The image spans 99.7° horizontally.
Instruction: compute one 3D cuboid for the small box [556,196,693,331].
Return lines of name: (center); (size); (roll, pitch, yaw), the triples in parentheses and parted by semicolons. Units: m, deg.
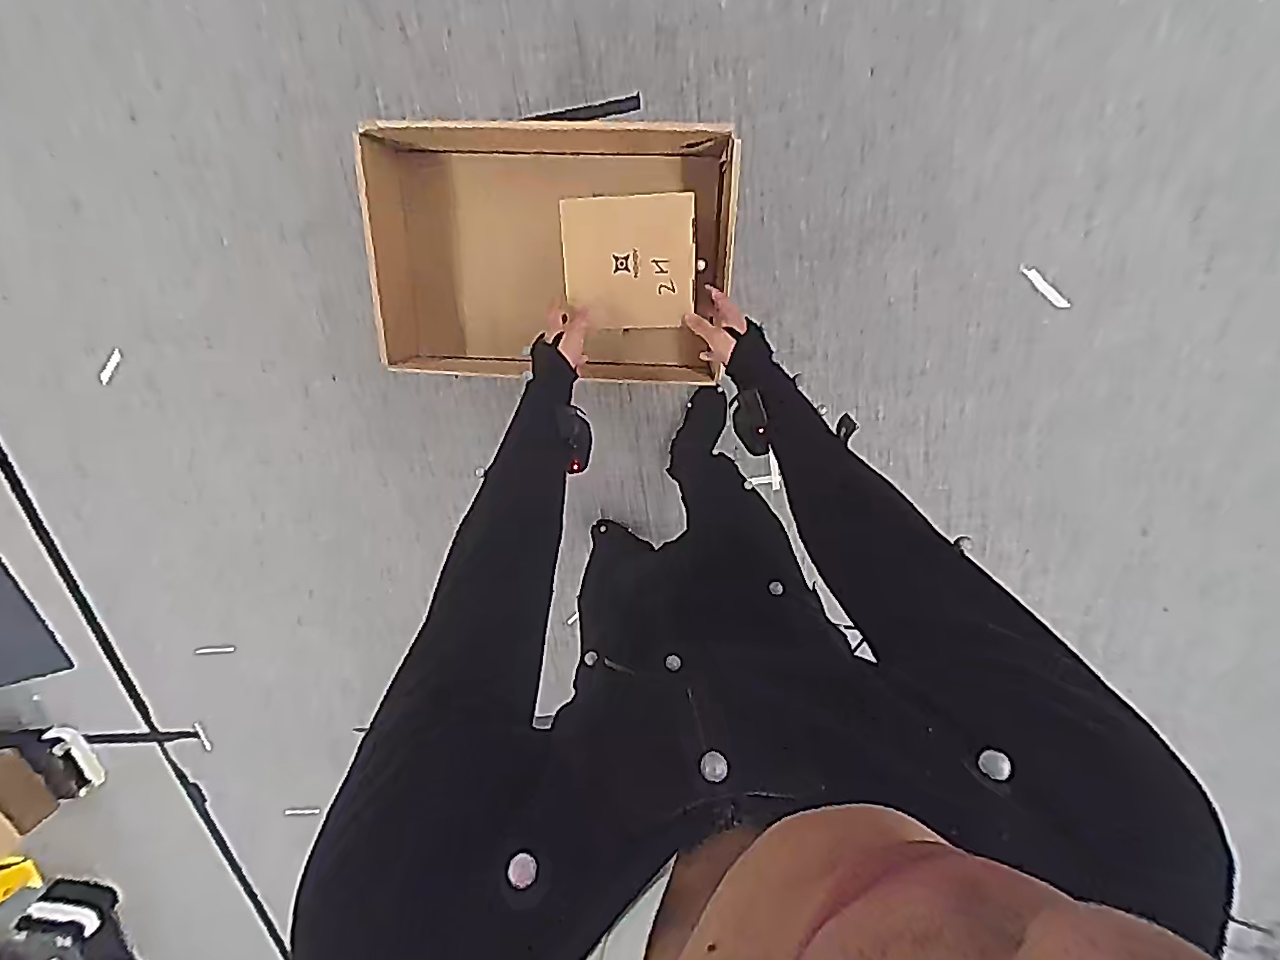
small box: (-0.013, -0.304, 0.782); (0.179, 0.176, 0.168); (0, 110, 5)
